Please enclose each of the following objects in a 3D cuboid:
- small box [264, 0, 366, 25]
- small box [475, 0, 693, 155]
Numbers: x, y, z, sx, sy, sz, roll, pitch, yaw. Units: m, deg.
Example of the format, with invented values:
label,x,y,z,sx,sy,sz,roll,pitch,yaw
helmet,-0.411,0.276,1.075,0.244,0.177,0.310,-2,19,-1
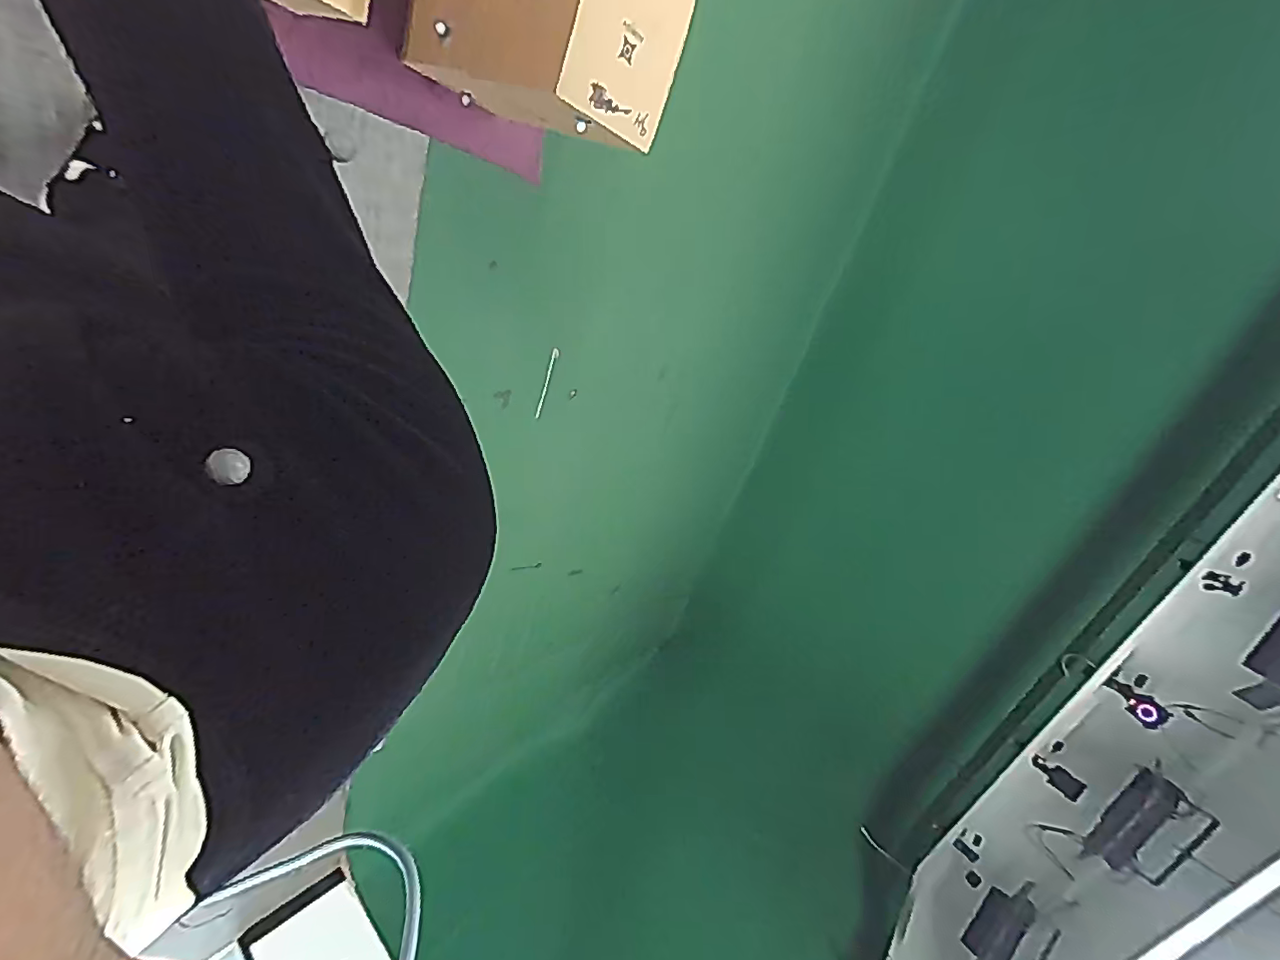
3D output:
label,x,y,z,sx,sy,sz,roll,pitch,yaw
small box,-0.366,-0.571,0.503,0.168,0.176,0.179,-11,126,-51
small box,-0.071,-0.523,0.641,0.168,0.176,0.179,-7,124,-51
